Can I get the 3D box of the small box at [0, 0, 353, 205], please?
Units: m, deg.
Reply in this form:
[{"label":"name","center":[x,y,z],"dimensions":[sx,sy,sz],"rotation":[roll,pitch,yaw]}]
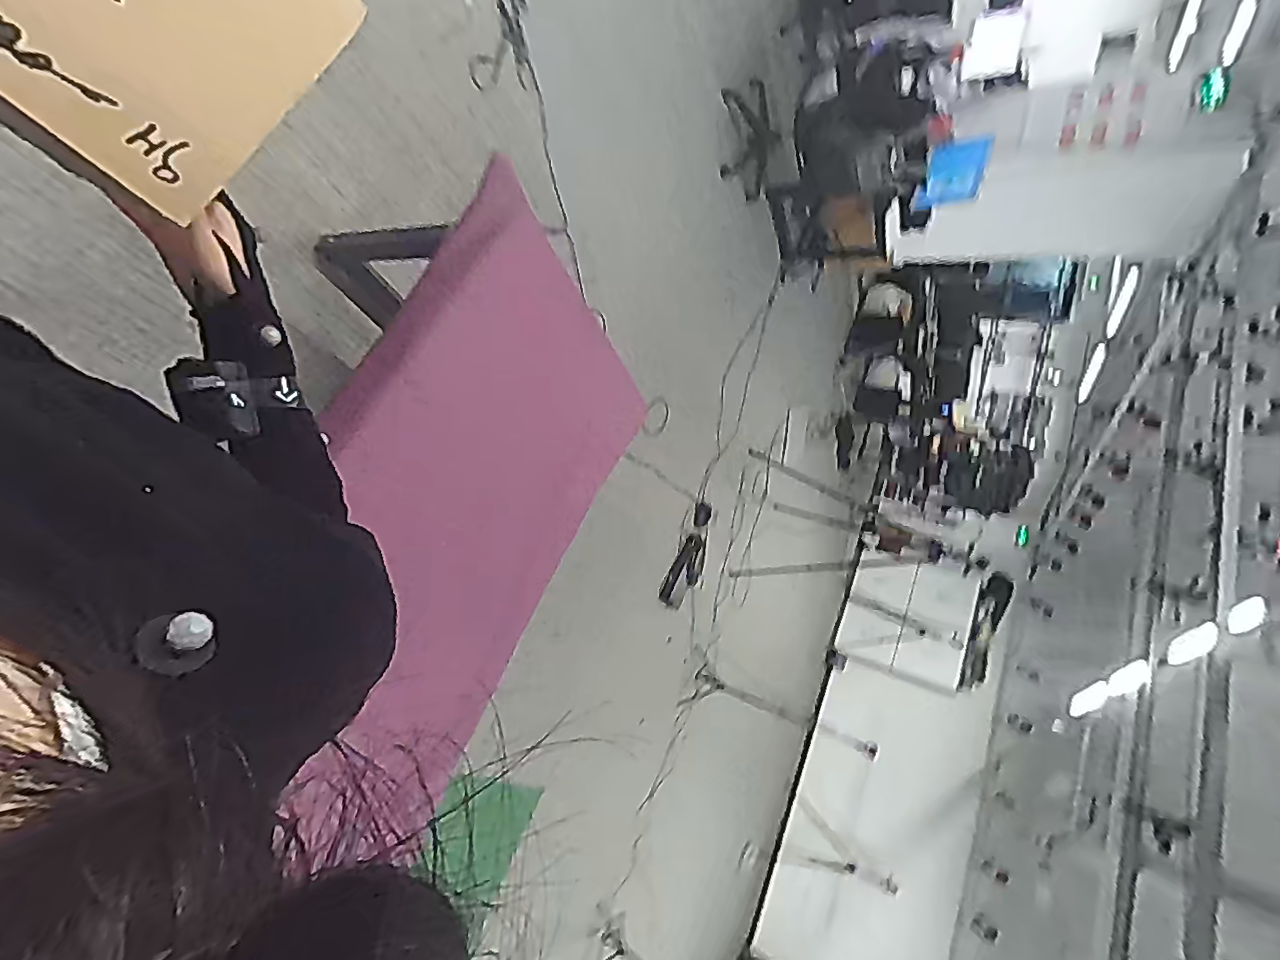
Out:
[{"label":"small box","center":[-0.300,-0.284,0.275],"dimensions":[0.179,0.176,0.168],"rotation":[-58,153,-8]}]
